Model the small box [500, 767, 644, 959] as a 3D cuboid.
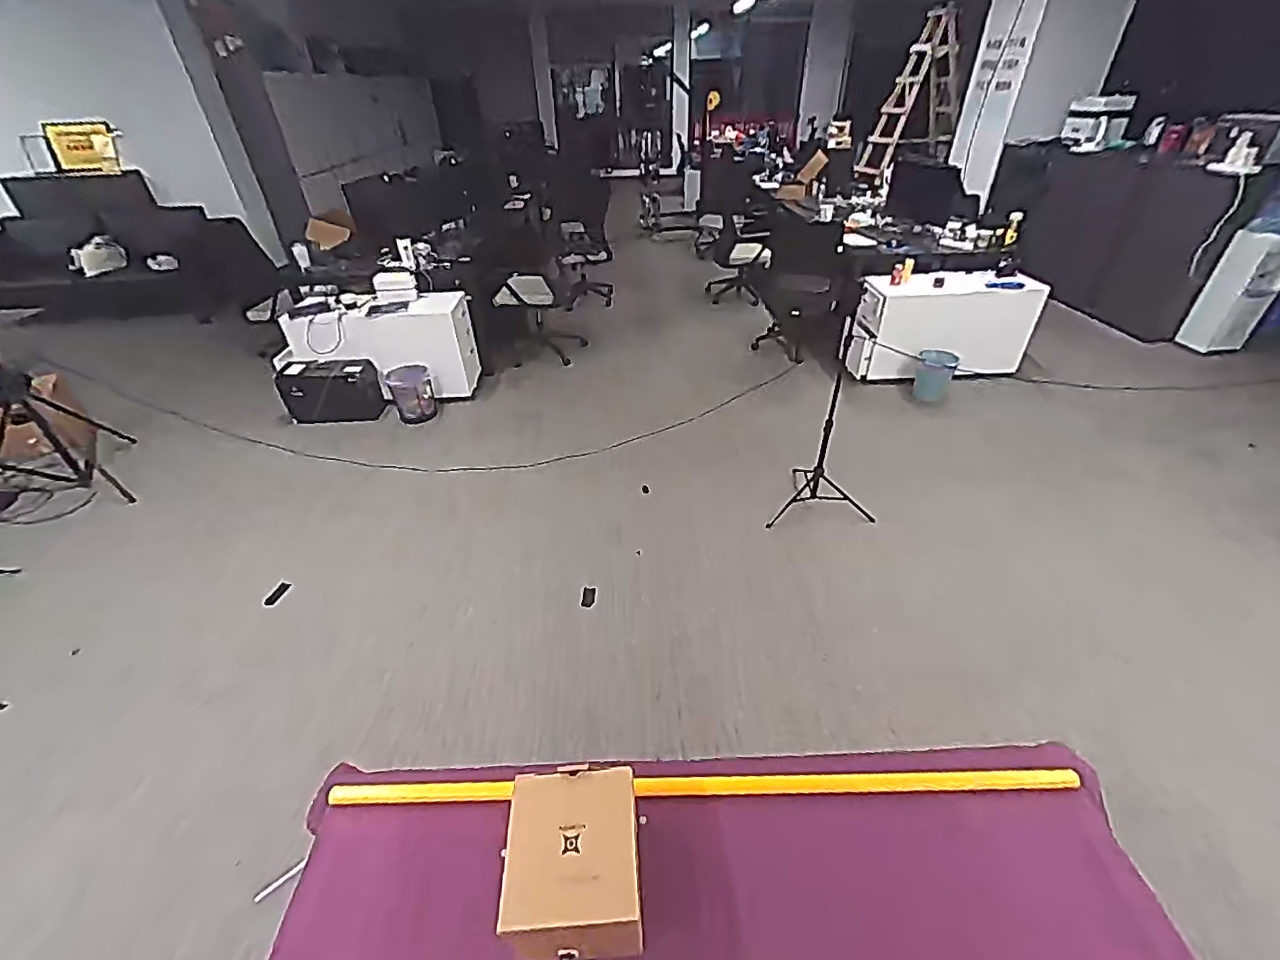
[{"bbox_3d":[-0.082,0.520,0.732,0.168,0.176,0.179,-4,37,-2],"label":"small box"}]
